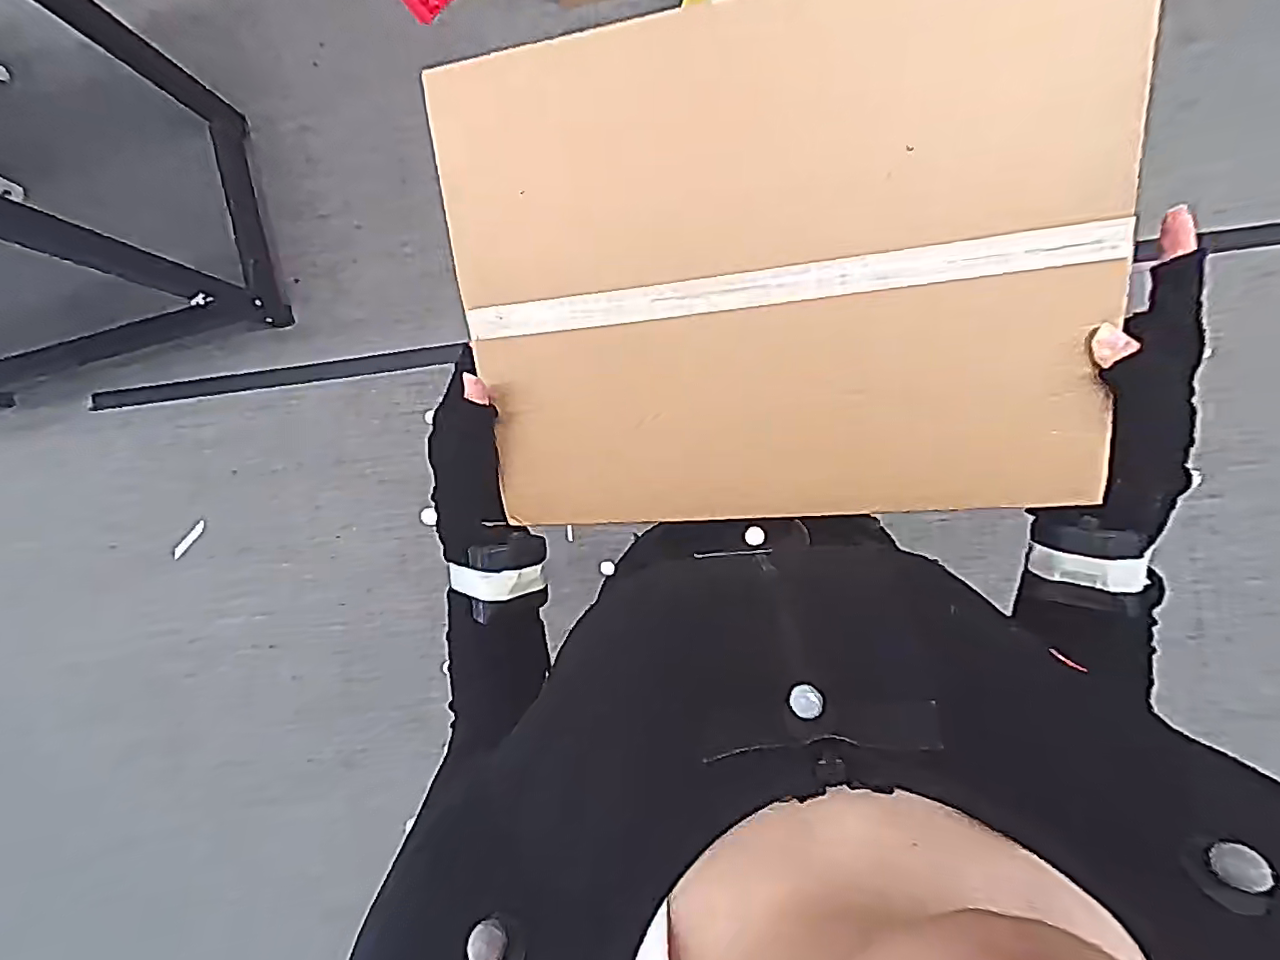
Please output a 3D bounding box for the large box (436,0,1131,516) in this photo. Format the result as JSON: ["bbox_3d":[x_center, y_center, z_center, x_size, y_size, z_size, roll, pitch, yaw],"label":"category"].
[{"bbox_3d":[0.105,-0.173,0.491,0.408,0.320,0.320,-3,105,13],"label":"large box"}]
